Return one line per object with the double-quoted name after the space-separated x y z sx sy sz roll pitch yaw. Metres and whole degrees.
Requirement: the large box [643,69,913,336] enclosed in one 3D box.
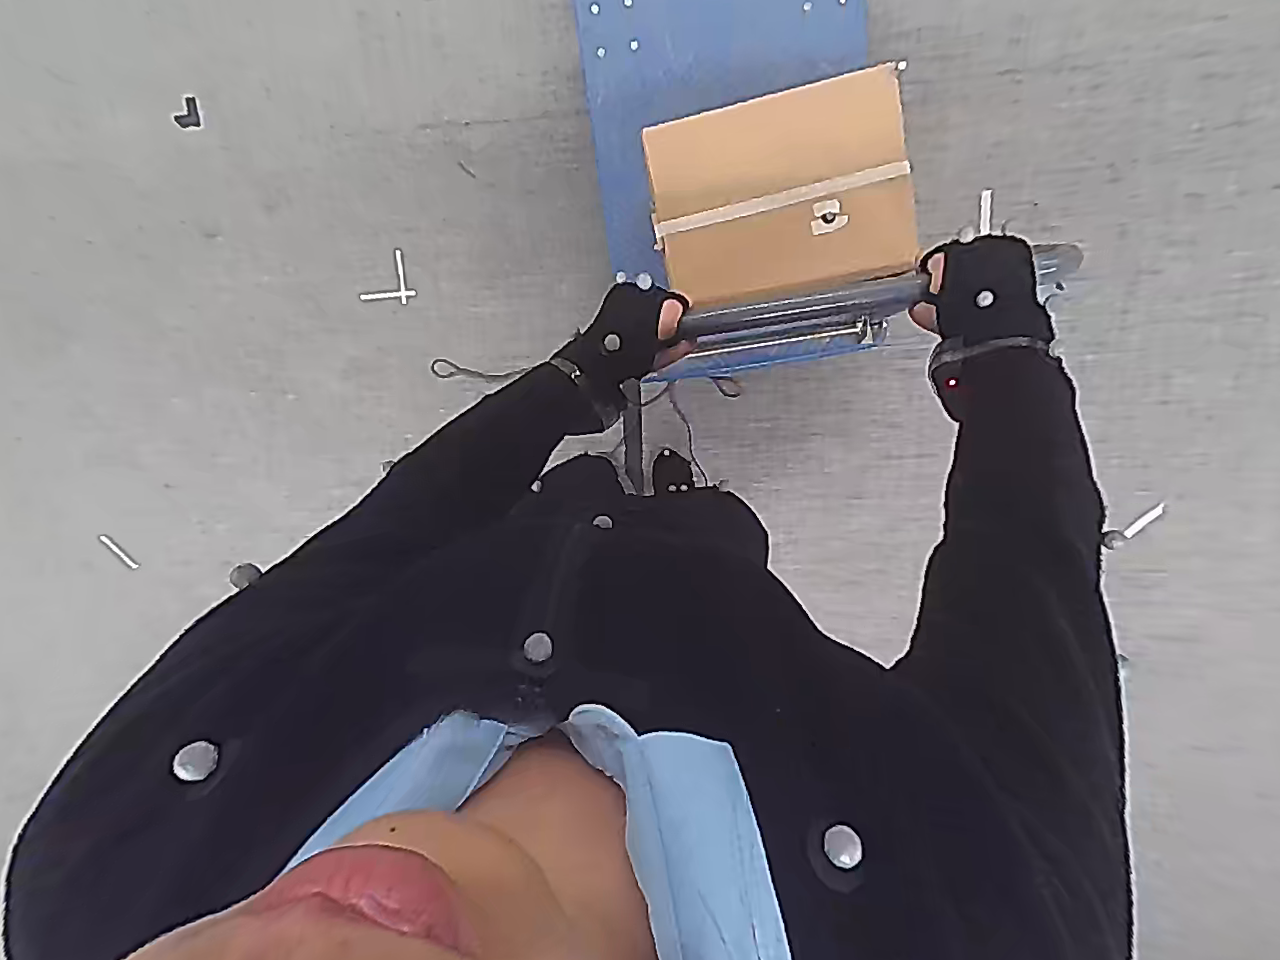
0.239 -0.489 1.043 0.408 0.320 0.320 -12 100 5 "large box"
